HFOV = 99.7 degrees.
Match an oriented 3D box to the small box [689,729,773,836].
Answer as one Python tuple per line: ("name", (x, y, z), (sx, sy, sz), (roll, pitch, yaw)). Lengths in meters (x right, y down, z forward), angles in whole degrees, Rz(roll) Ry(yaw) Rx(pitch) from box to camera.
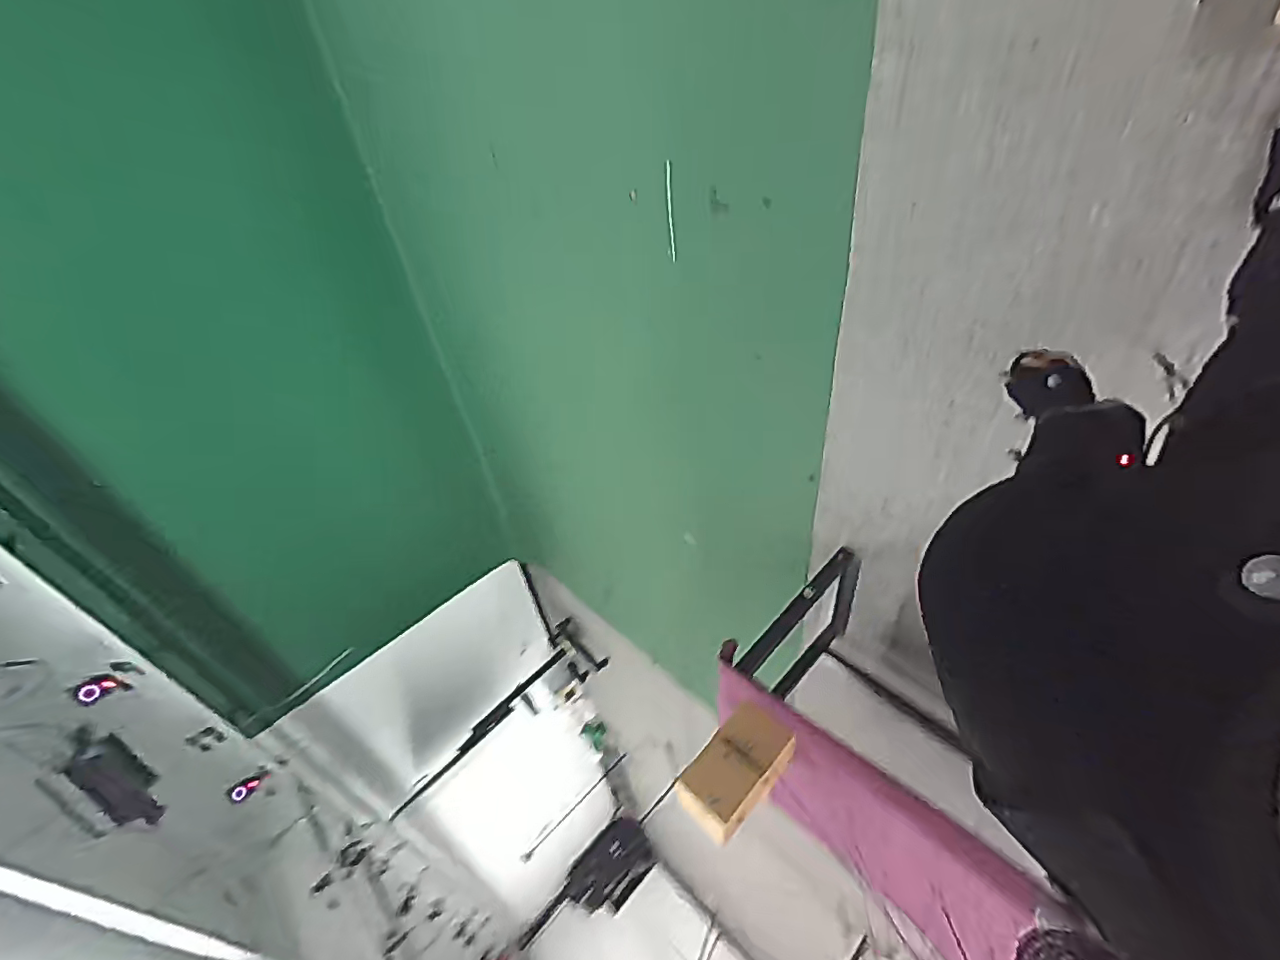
("small box", (0.258, 0.845, 1.517), (0.168, 0.176, 0.179), (29, 144, 35))

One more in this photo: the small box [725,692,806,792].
("small box", (0.374, 0.772, 1.608), (0.179, 0.176, 0.168), (29, 143, 38))
